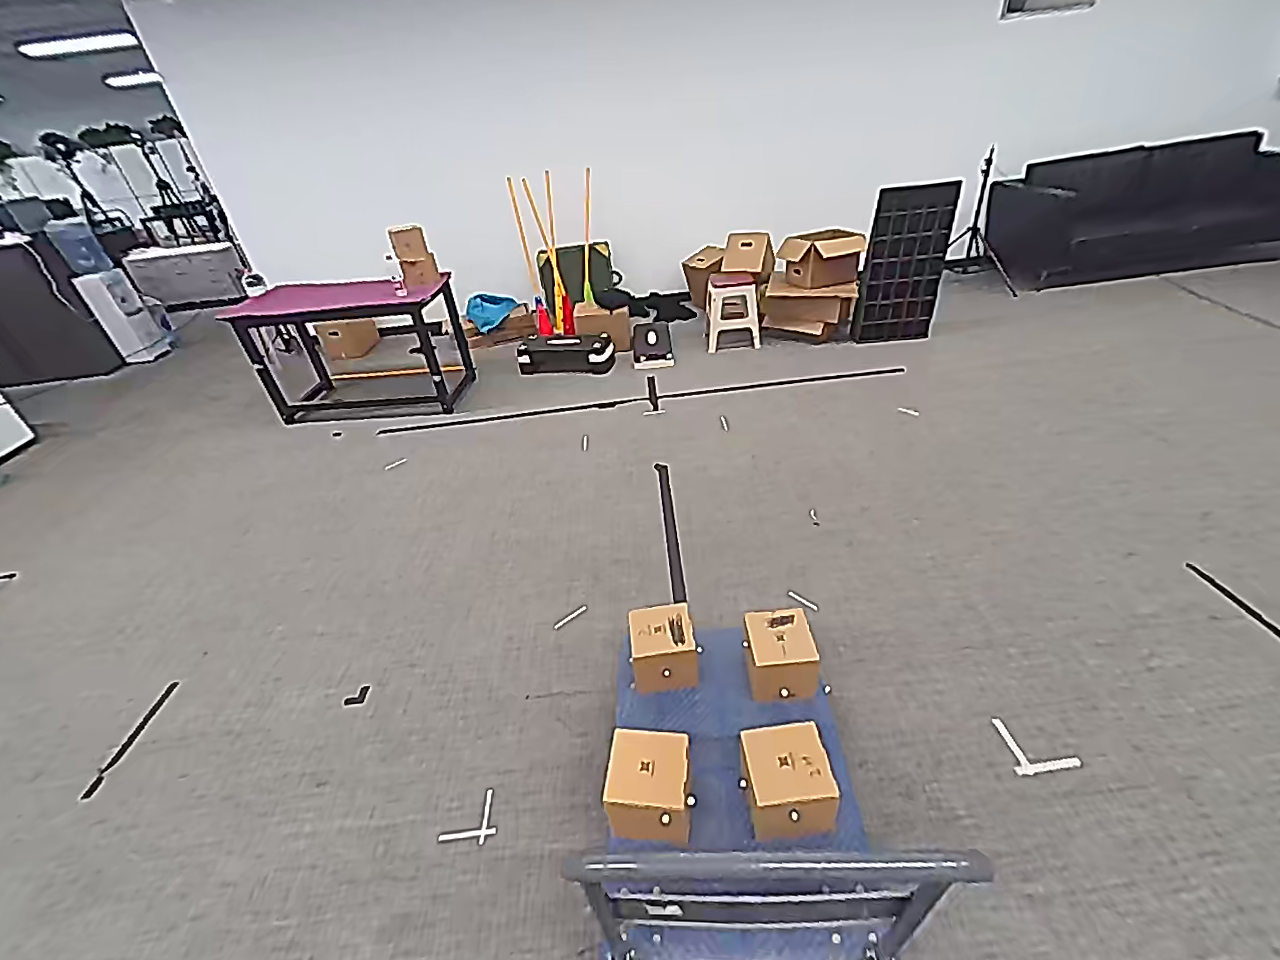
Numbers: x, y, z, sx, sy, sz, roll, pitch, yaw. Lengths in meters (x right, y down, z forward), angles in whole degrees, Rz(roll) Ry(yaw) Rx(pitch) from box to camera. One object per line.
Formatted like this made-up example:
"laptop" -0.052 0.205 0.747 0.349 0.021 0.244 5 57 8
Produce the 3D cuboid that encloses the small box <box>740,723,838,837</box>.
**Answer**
"small box" 0.332 0.684 1.229 0.179 0.176 0.168 -7 35 0

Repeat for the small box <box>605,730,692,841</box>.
"small box" 0.027 0.707 1.252 0.179 0.176 0.168 0 35 8

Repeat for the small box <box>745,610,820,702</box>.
"small box" 0.386 0.487 1.499 0.168 0.176 0.179 -6 36 2
